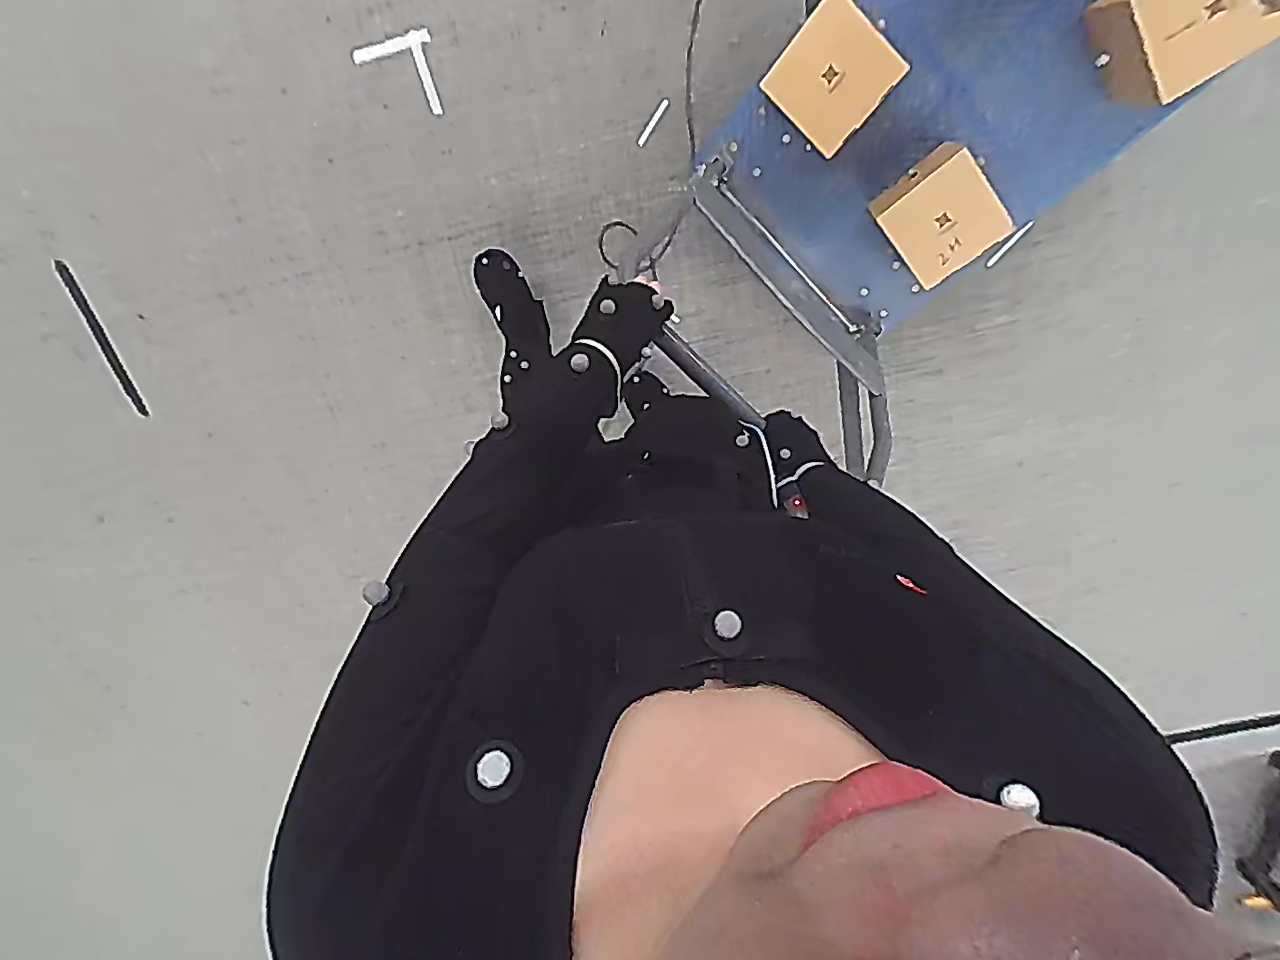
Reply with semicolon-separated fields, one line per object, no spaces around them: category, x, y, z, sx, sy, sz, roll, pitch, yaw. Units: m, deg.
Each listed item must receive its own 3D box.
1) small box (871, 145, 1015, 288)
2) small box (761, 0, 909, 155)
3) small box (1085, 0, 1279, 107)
small box;0.563;-0.504;1.029;0.168;0.176;0.179;-34;109;33
small box;0.335;-0.711;0.953;0.179;0.176;0.168;38;126;-13
small box;0.825;-0.703;0.811;0.179;0.176;0.168;-27;113;31
